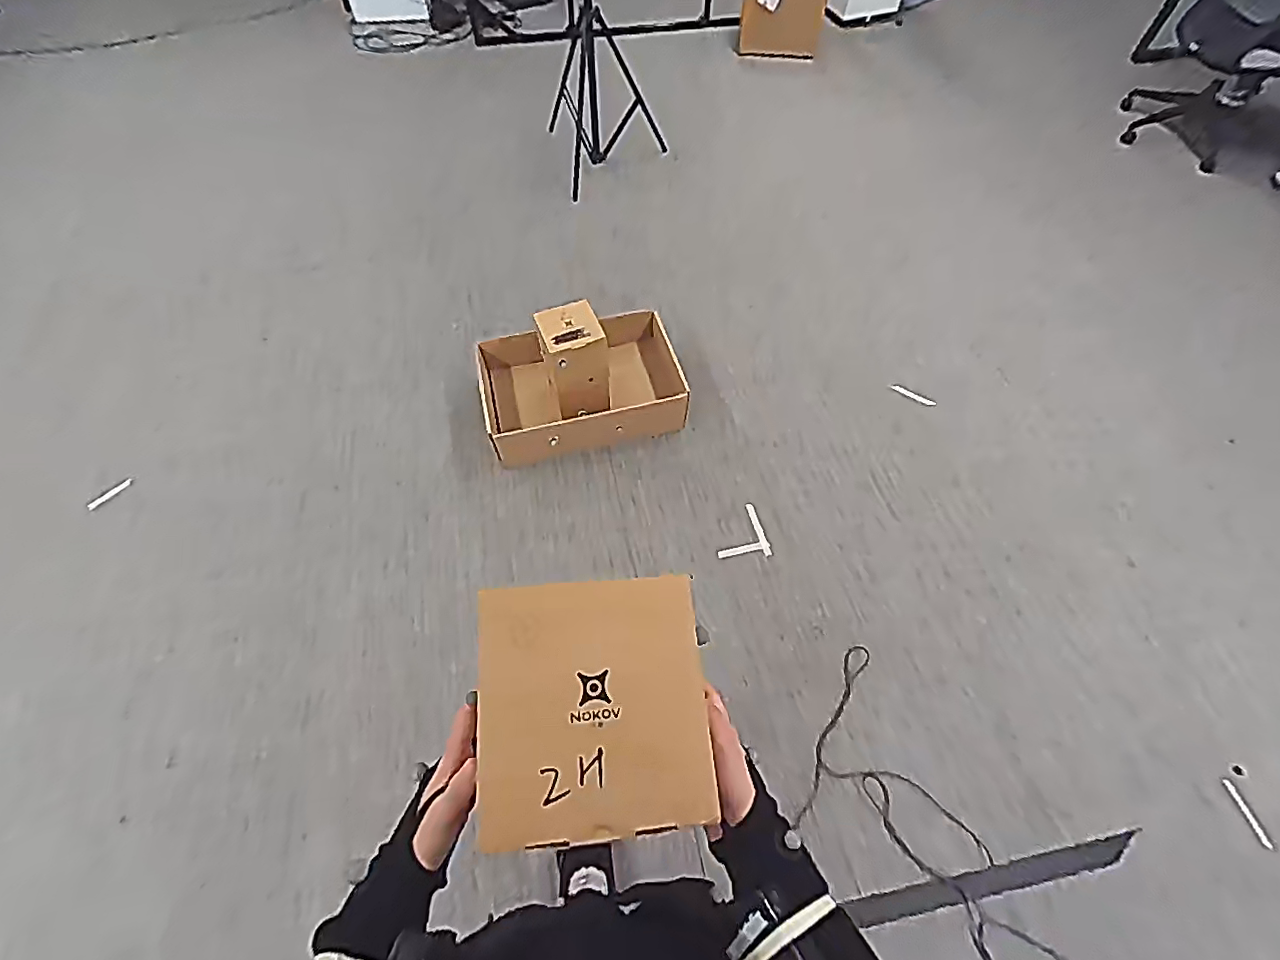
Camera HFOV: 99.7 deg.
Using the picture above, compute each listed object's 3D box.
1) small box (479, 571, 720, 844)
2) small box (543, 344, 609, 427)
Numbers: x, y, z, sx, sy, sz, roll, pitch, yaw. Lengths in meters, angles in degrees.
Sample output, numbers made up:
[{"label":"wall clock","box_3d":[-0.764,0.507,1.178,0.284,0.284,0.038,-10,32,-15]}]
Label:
[{"label":"small box","box_3d":[-0.040,0.189,0.470,0.168,0.176,0.179,-3,67,-7]},{"label":"small box","box_3d":[-0.204,-0.301,1.739,0.168,0.176,0.179,-18,62,-10]}]
